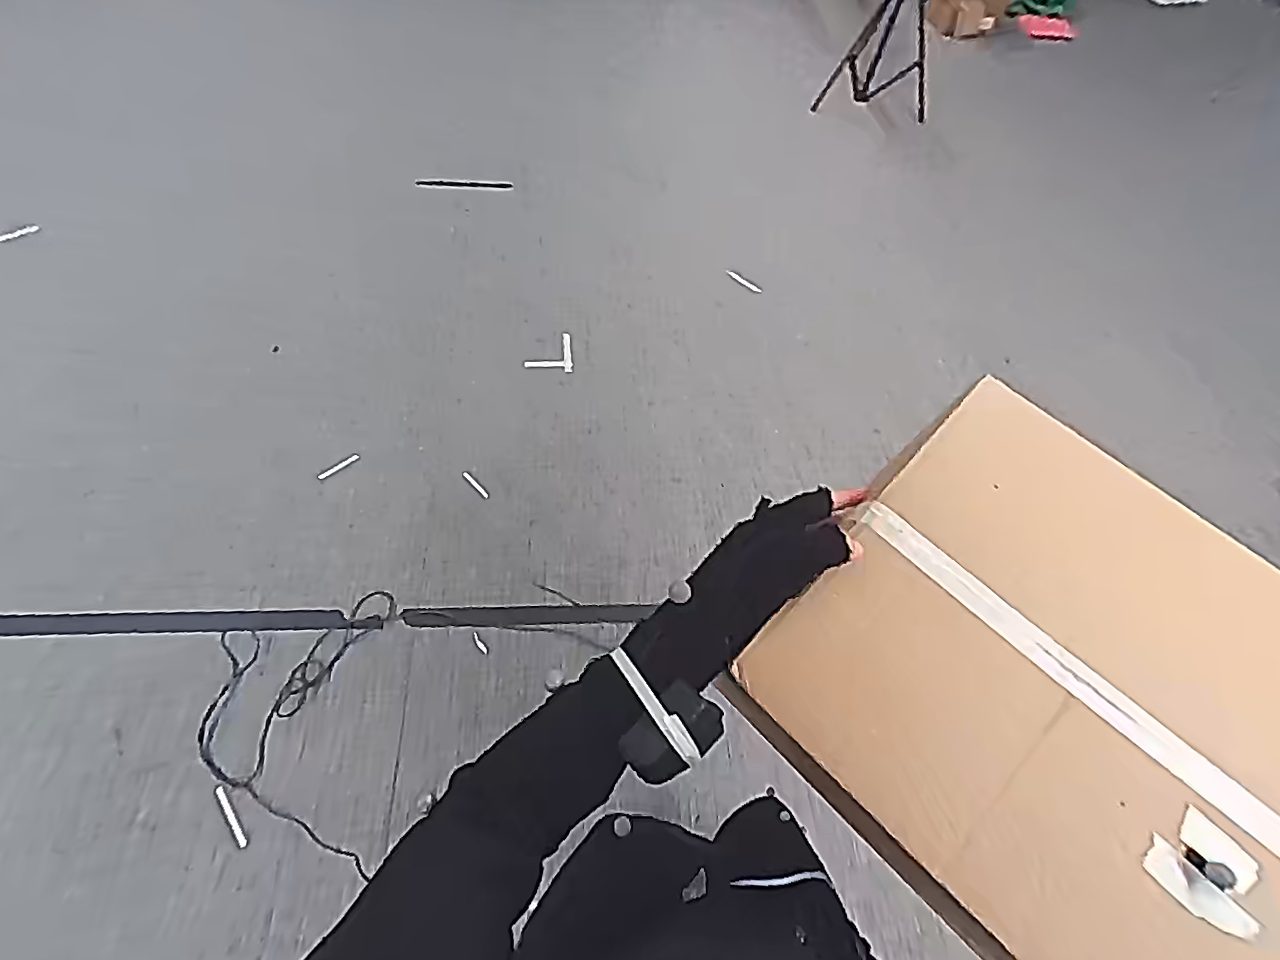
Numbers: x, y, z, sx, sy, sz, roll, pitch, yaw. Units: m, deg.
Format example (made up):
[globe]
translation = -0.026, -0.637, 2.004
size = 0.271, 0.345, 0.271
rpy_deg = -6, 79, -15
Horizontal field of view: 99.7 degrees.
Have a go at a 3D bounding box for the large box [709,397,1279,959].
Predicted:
[large box]
translation = 0.319, 0.207, 0.499
size = 0.408, 0.320, 0.320
rpy_deg = 43, 79, 16
